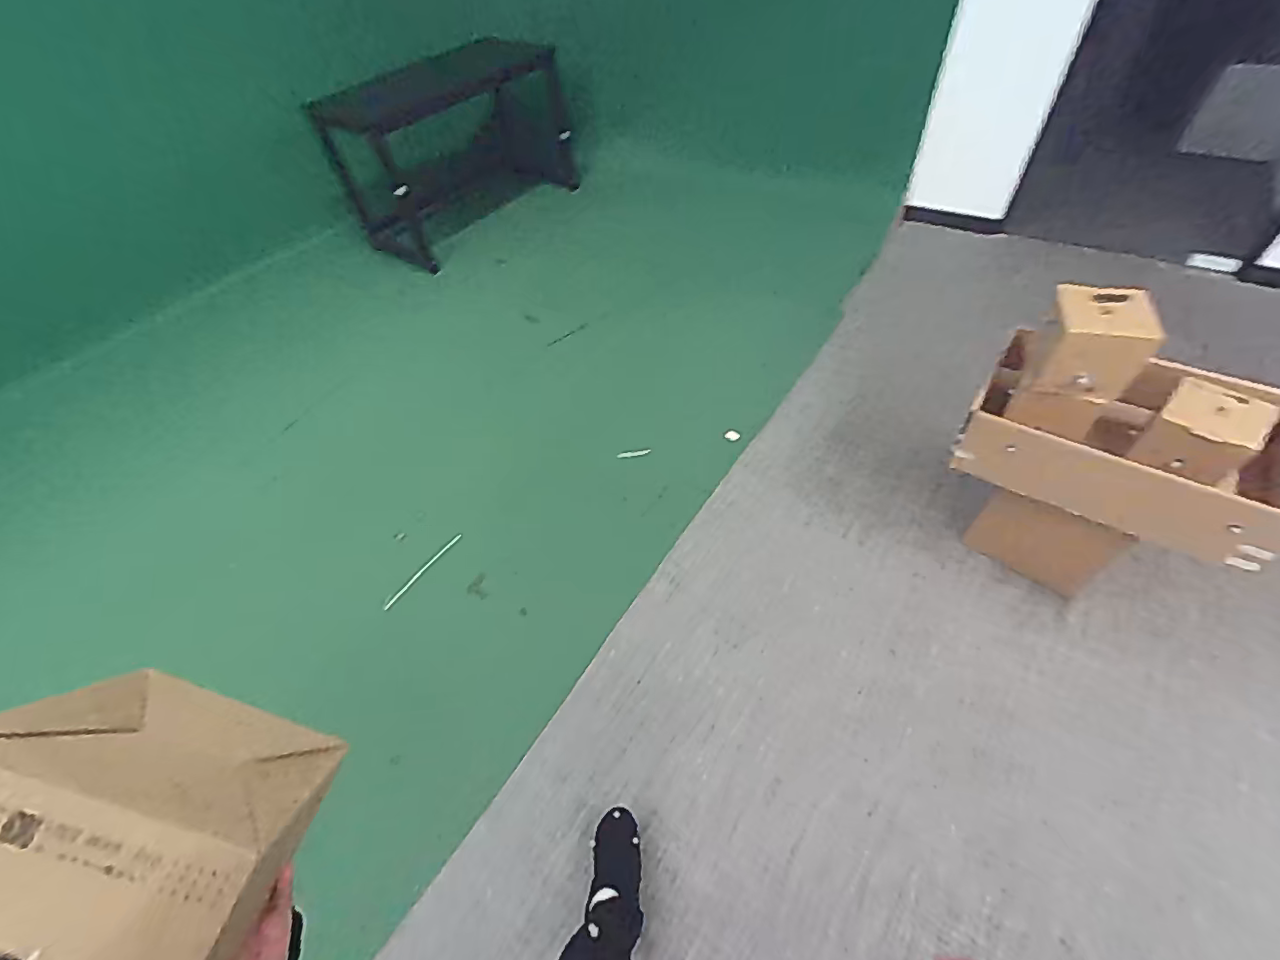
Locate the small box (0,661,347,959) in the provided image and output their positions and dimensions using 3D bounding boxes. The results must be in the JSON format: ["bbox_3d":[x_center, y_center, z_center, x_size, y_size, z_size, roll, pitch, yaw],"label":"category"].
[{"bbox_3d":[-0.316,0.228,0.326,0.168,0.179,0.176,29,76,-9],"label":"small box"}]

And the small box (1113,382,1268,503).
[{"bbox_3d":[1.221,-0.081,1.213,0.179,0.176,0.168,-39,57,-23],"label":"small box"}]

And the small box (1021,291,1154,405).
[{"bbox_3d":[0.981,-0.294,1.206,0.168,0.176,0.179,11,53,16],"label":"small box"}]
